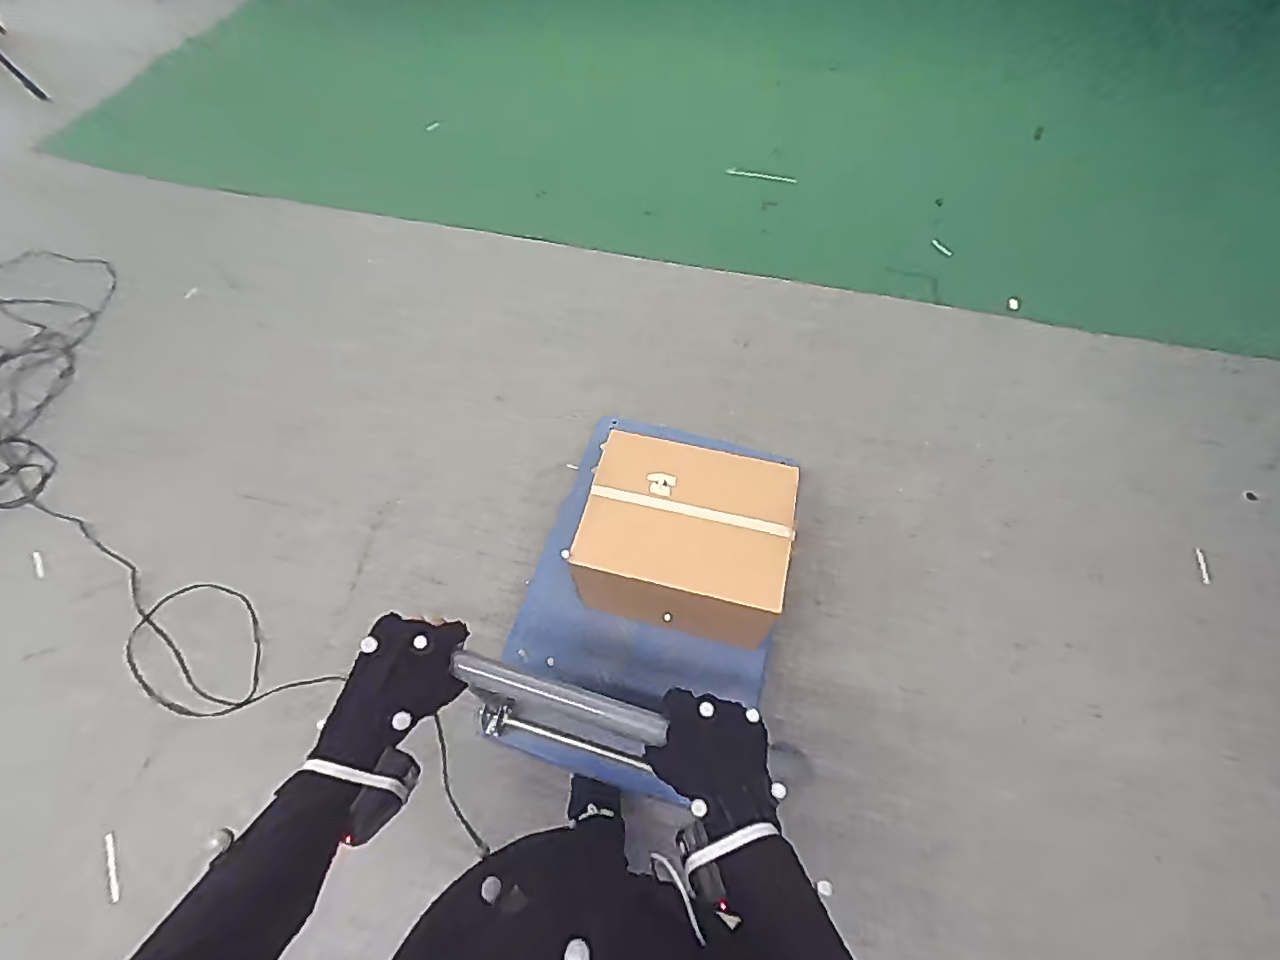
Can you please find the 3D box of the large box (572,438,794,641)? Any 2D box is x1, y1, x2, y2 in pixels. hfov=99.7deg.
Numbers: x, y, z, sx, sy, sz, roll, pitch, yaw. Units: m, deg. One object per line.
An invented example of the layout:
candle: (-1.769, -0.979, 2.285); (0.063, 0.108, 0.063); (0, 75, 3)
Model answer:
large box: (0.101, 0.143, 1.208); (0.408, 0.320, 0.320); (11, 62, 8)
